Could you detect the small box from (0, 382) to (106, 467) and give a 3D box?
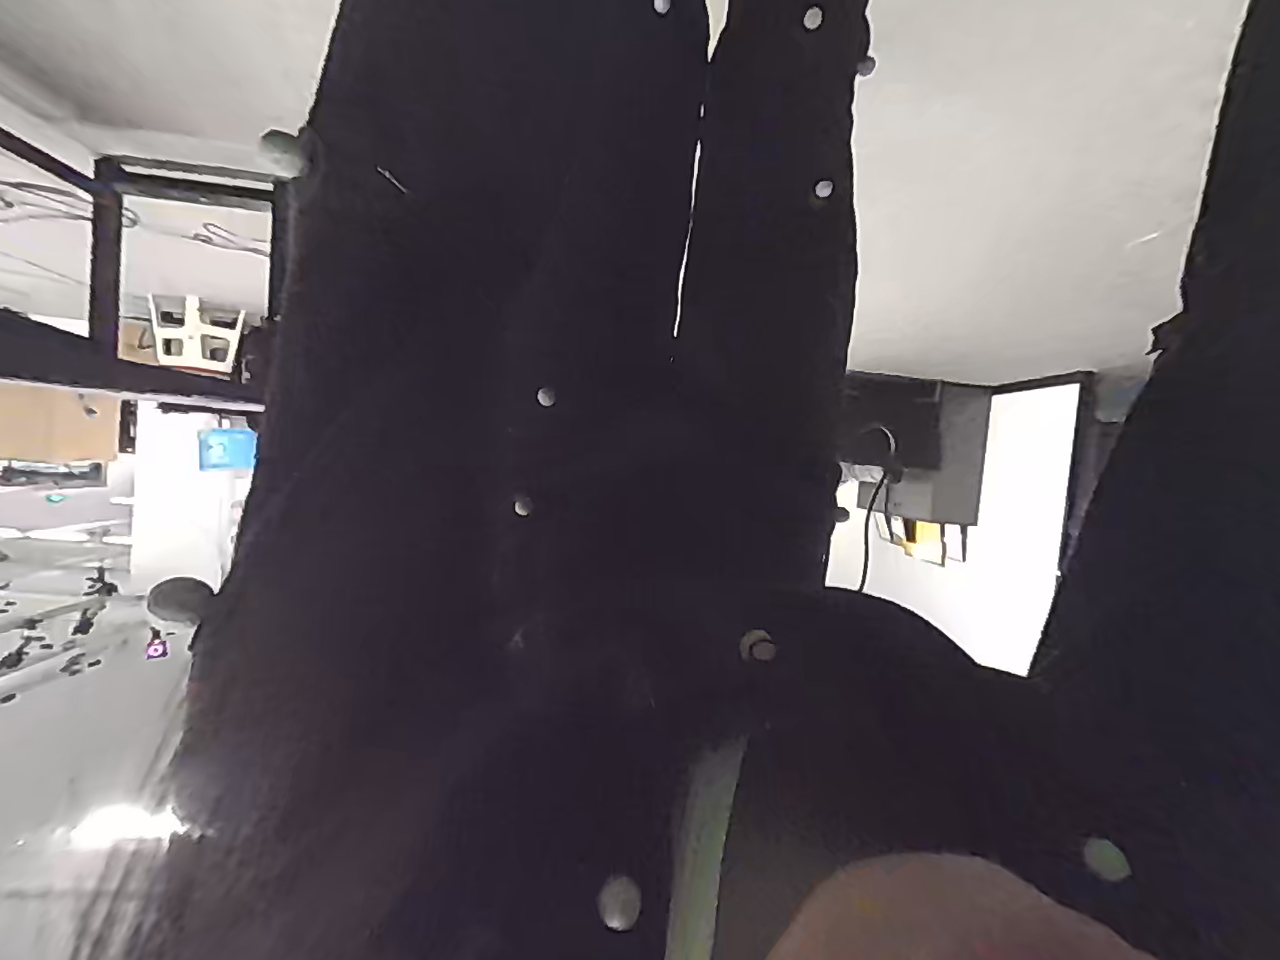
[{"bbox_3d":[-1.316,-0.121,1.171,0.179,0.176,0.168,5,-177,-7],"label":"small box"}]
